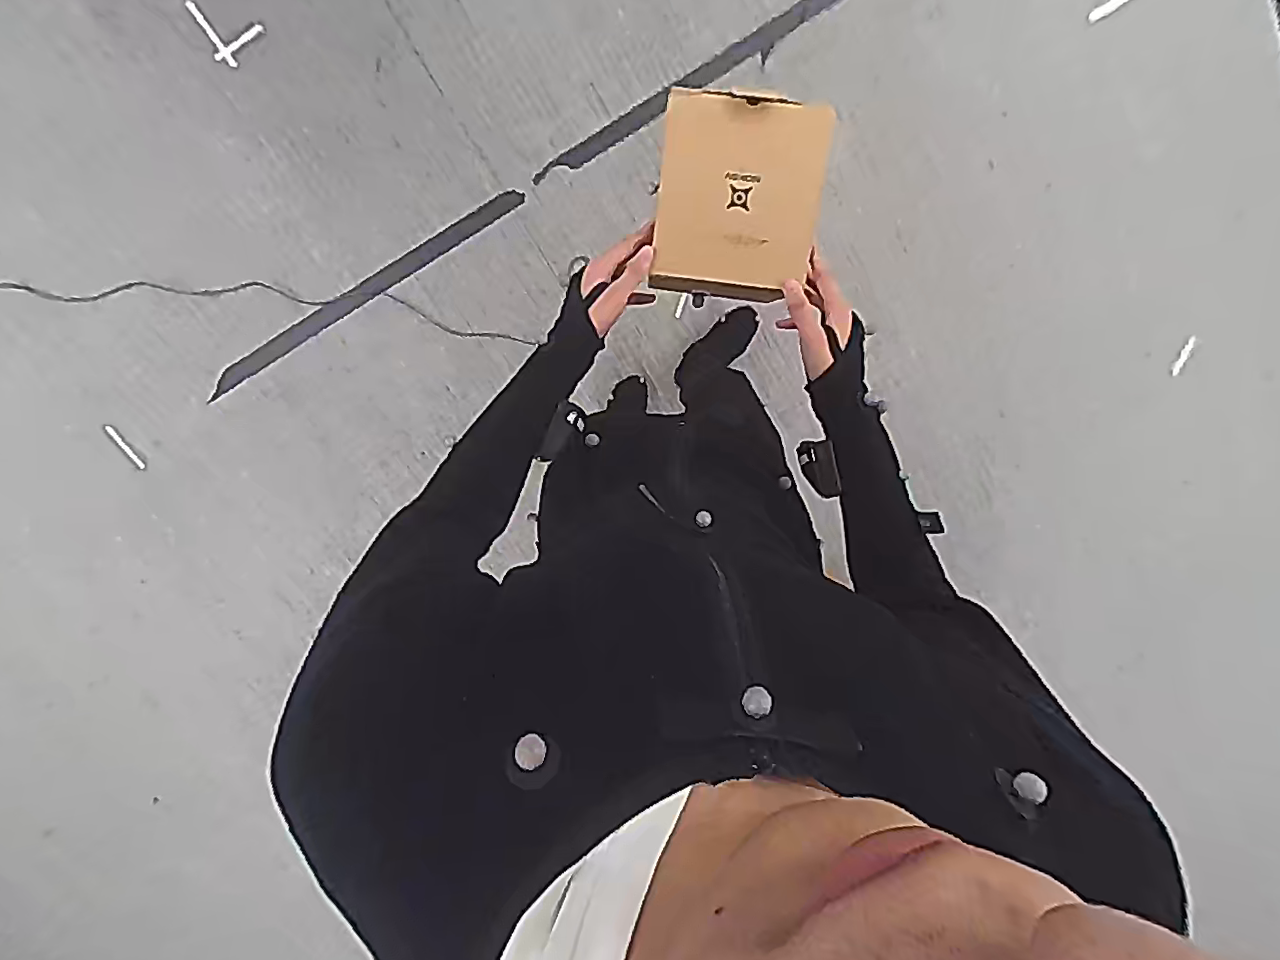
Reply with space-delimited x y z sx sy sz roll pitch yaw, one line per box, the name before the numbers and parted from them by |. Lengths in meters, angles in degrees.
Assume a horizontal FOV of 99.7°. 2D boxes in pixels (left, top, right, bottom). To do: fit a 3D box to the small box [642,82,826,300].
small box | 0.092 -0.311 0.619 0.168 0.176 0.179 5 105 -1
